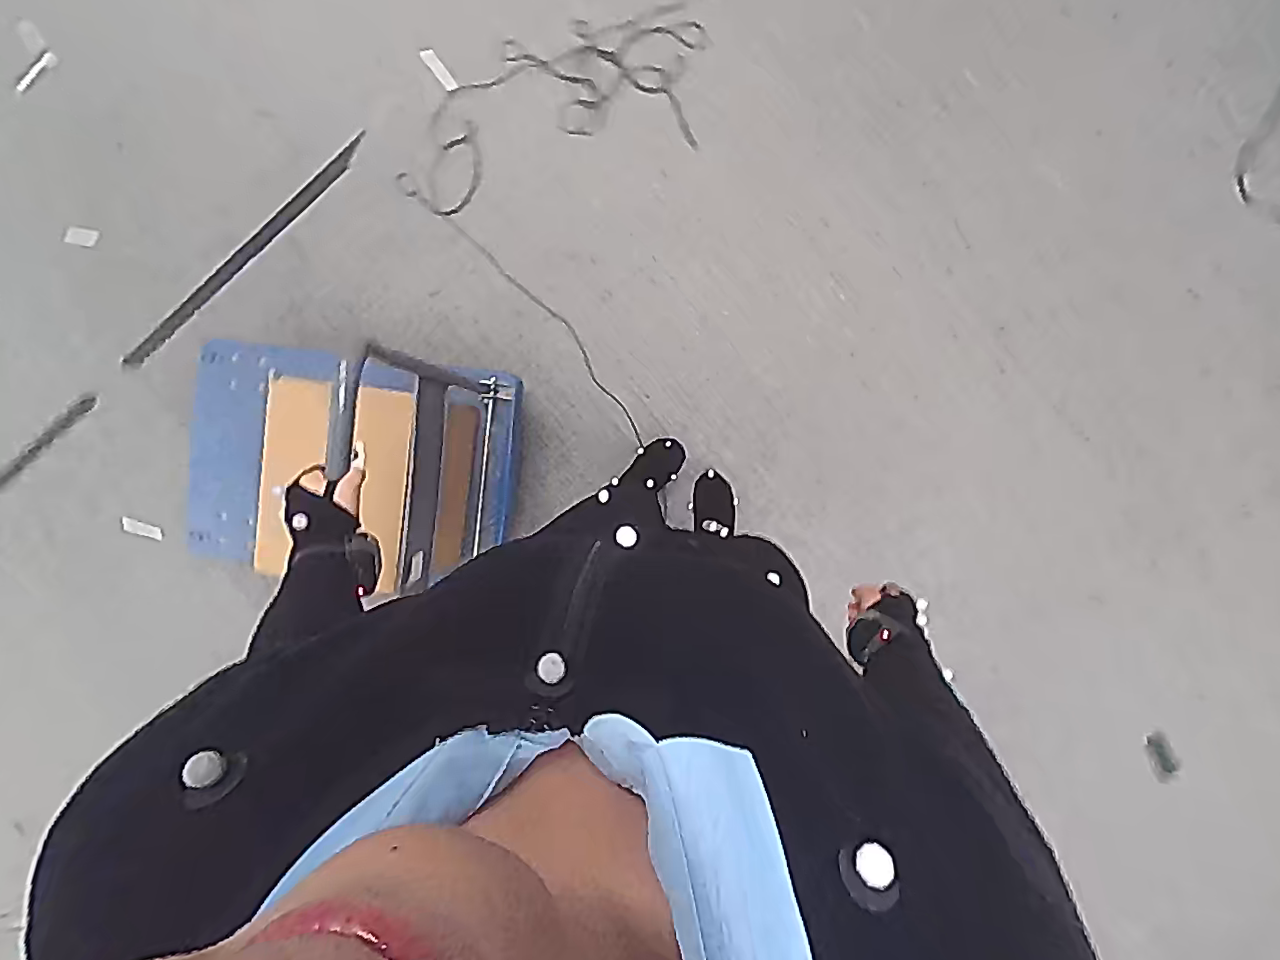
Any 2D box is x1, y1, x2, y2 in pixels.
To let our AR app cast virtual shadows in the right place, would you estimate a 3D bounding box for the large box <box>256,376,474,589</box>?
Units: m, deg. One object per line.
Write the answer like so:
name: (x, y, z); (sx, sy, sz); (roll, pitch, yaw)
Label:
large box: (-0.602, 0.001, 1.233); (0.320, 0.320, 0.408); (8, 93, 5)
